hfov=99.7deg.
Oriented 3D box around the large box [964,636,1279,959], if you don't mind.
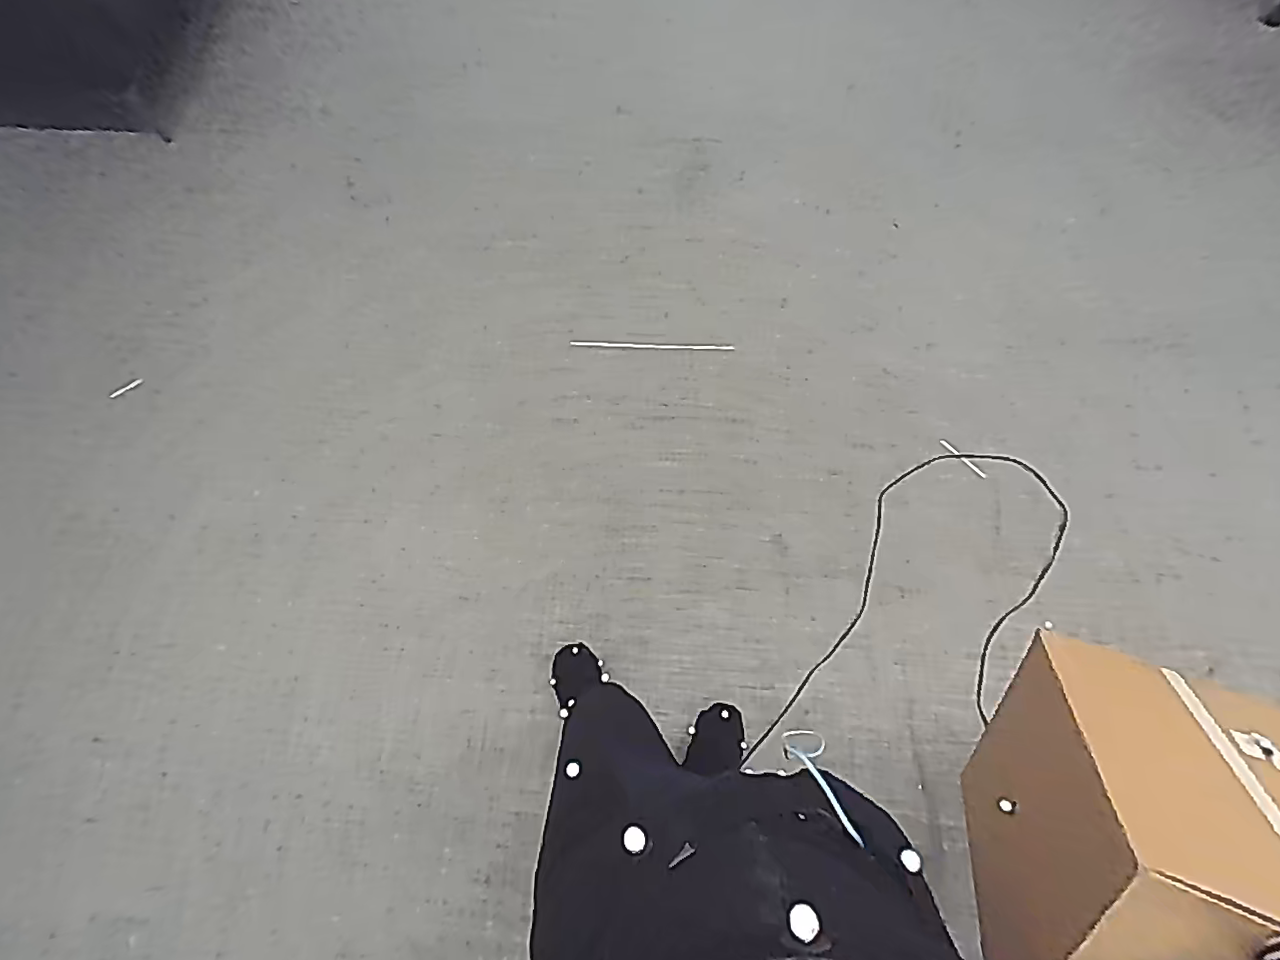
[{"bbox_3d":[0.632,0.471,0.652,0.320,0.408,0.320,19,113,19],"label":"large box"}]
